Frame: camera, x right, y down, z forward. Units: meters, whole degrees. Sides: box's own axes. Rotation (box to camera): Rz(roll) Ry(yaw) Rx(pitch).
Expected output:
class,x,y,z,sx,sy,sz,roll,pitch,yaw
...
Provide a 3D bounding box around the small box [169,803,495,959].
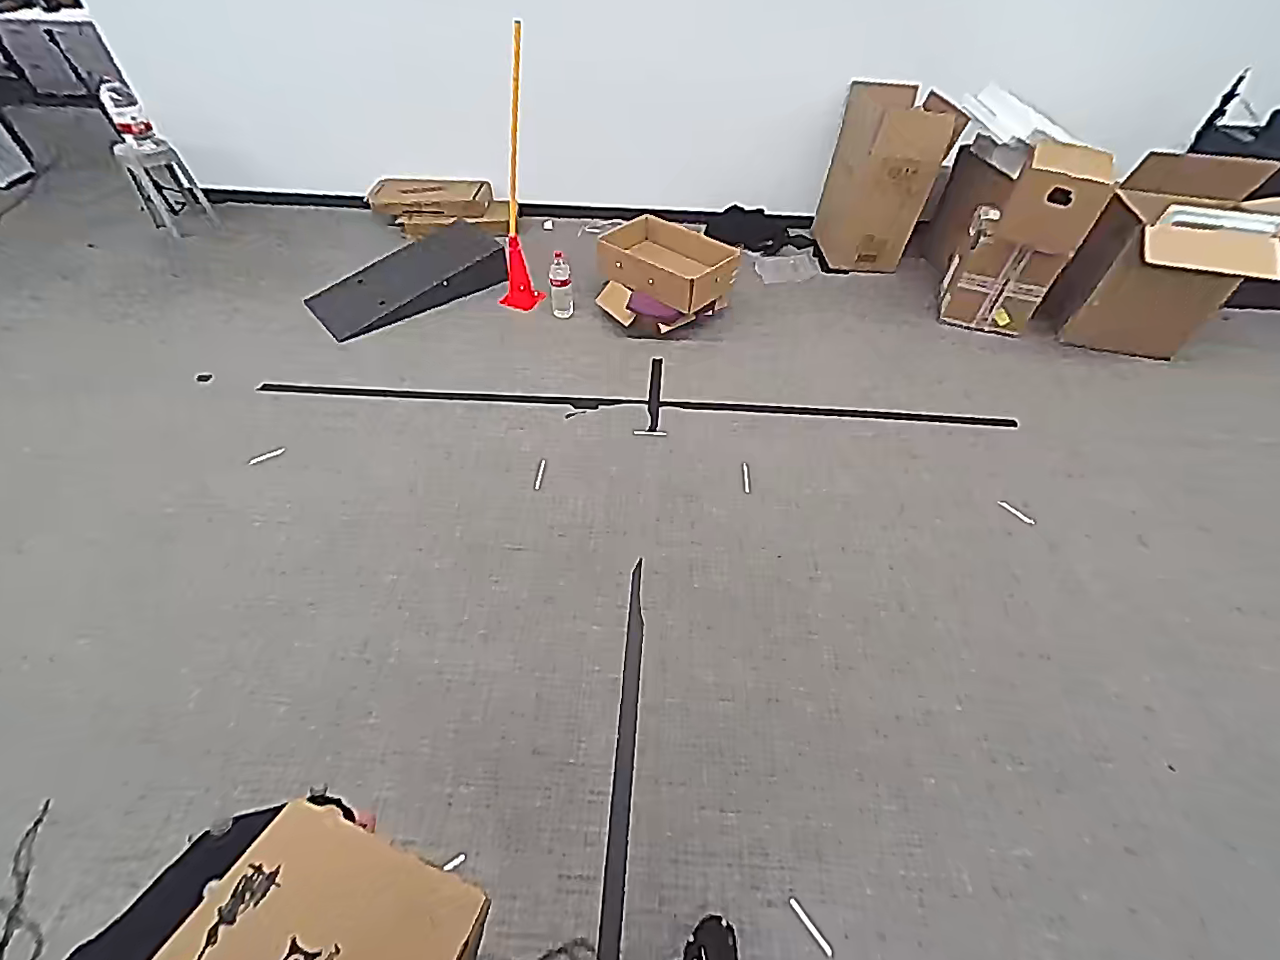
class,x,y,z,sx,sy,sz,roll,pitch,yaw
small box,-0.231,0.388,0.394,0.179,0.176,0.168,21,31,7
